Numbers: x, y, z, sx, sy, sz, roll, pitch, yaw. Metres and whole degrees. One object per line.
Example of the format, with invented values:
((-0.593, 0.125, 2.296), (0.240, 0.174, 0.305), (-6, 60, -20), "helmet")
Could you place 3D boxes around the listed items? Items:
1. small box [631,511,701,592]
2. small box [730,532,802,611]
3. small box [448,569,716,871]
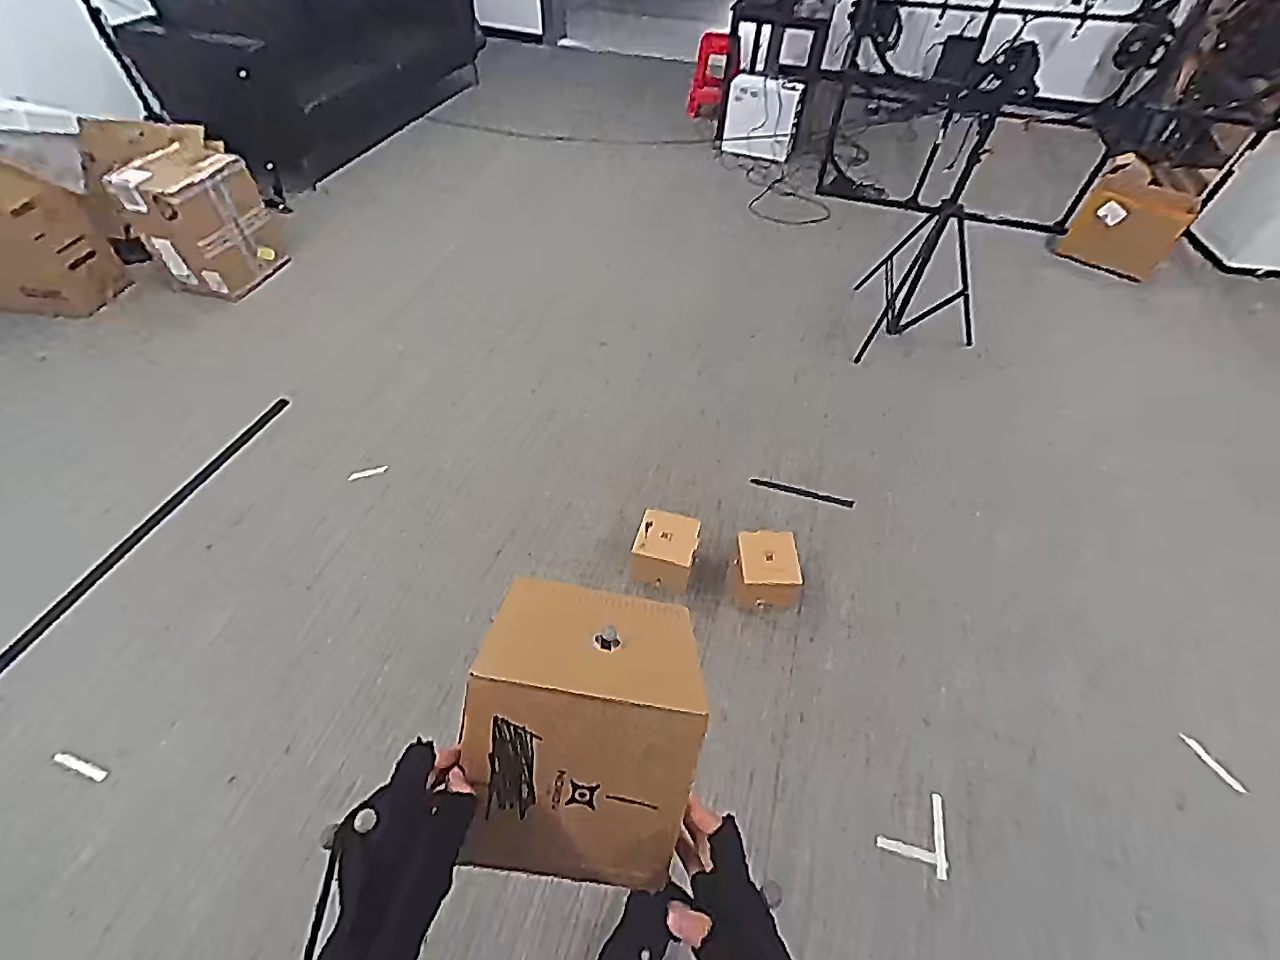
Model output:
((0.077, 0.224, 1.650), (0.179, 0.176, 0.168), (14, 51, 9), "small box")
((0.368, 0.275, 1.619), (0.168, 0.176, 0.179), (-1, 51, -1), "small box")
((-0.048, 0.193, 0.477), (0.179, 0.168, 0.176), (11, 13, -4), "small box")
